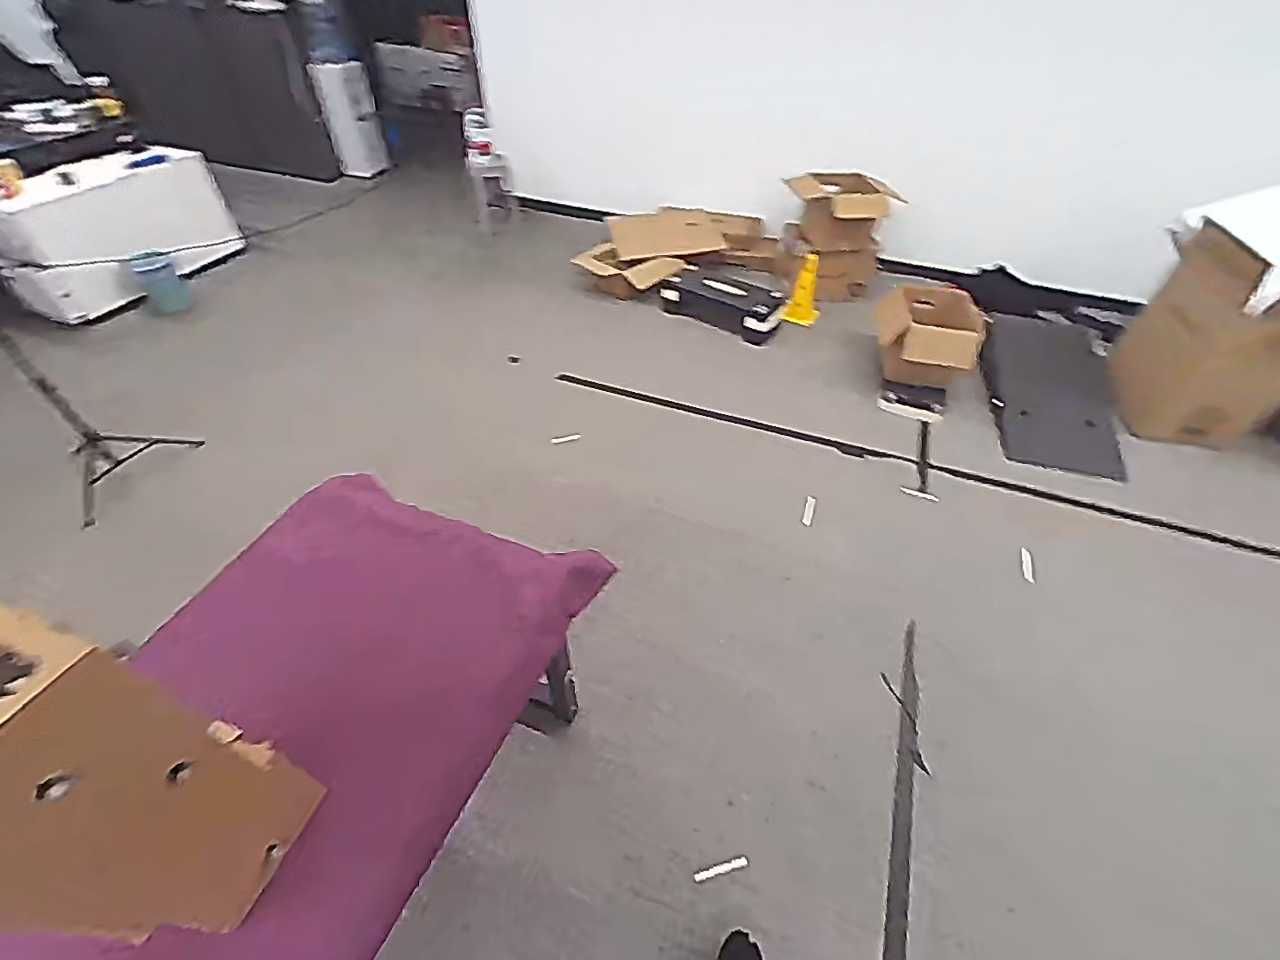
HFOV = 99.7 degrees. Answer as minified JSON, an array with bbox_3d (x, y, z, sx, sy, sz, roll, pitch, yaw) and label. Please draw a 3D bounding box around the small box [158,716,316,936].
[{"bbox_3d":[-0.557,0.444,0.696,0.168,0.176,0.179,13,46,13],"label":"small box"}]
